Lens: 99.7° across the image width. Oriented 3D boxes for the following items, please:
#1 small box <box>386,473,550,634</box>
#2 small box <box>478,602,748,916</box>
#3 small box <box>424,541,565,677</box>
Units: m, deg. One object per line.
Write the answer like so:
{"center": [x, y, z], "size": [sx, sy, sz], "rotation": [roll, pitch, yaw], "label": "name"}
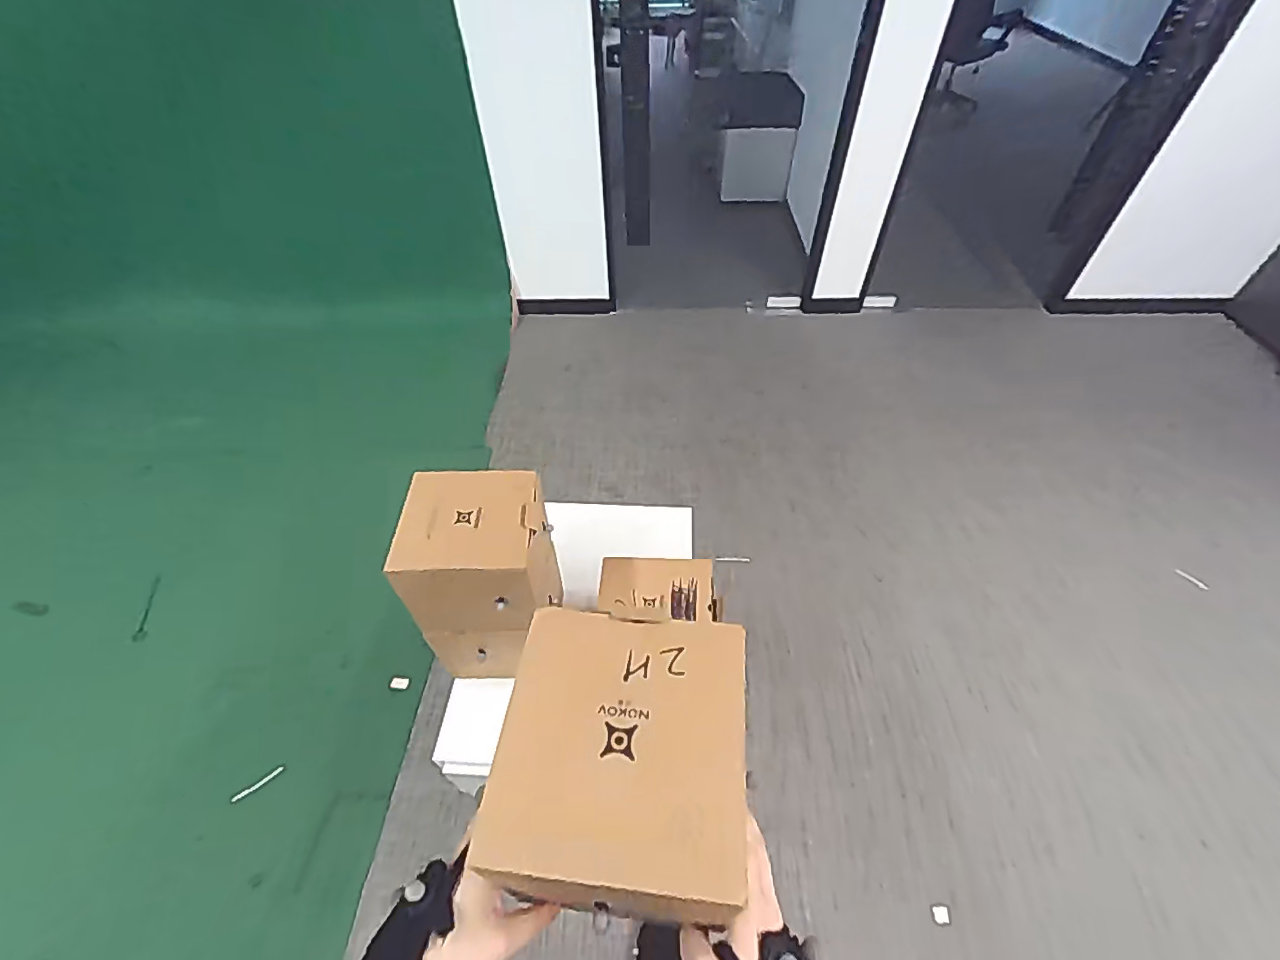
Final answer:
{"center": [-0.226, 0.106, 0.768], "size": [0.179, 0.176, 0.168], "rotation": [-2, 48, -2], "label": "small box"}
{"center": [-0.005, 0.222, 0.429], "size": [0.168, 0.176, 0.179], "rotation": [4, 47, 5], "label": "small box"}
{"center": [-0.226, 0.214, 0.890], "size": [0.179, 0.176, 0.168], "rotation": [-1, 50, -1], "label": "small box"}
